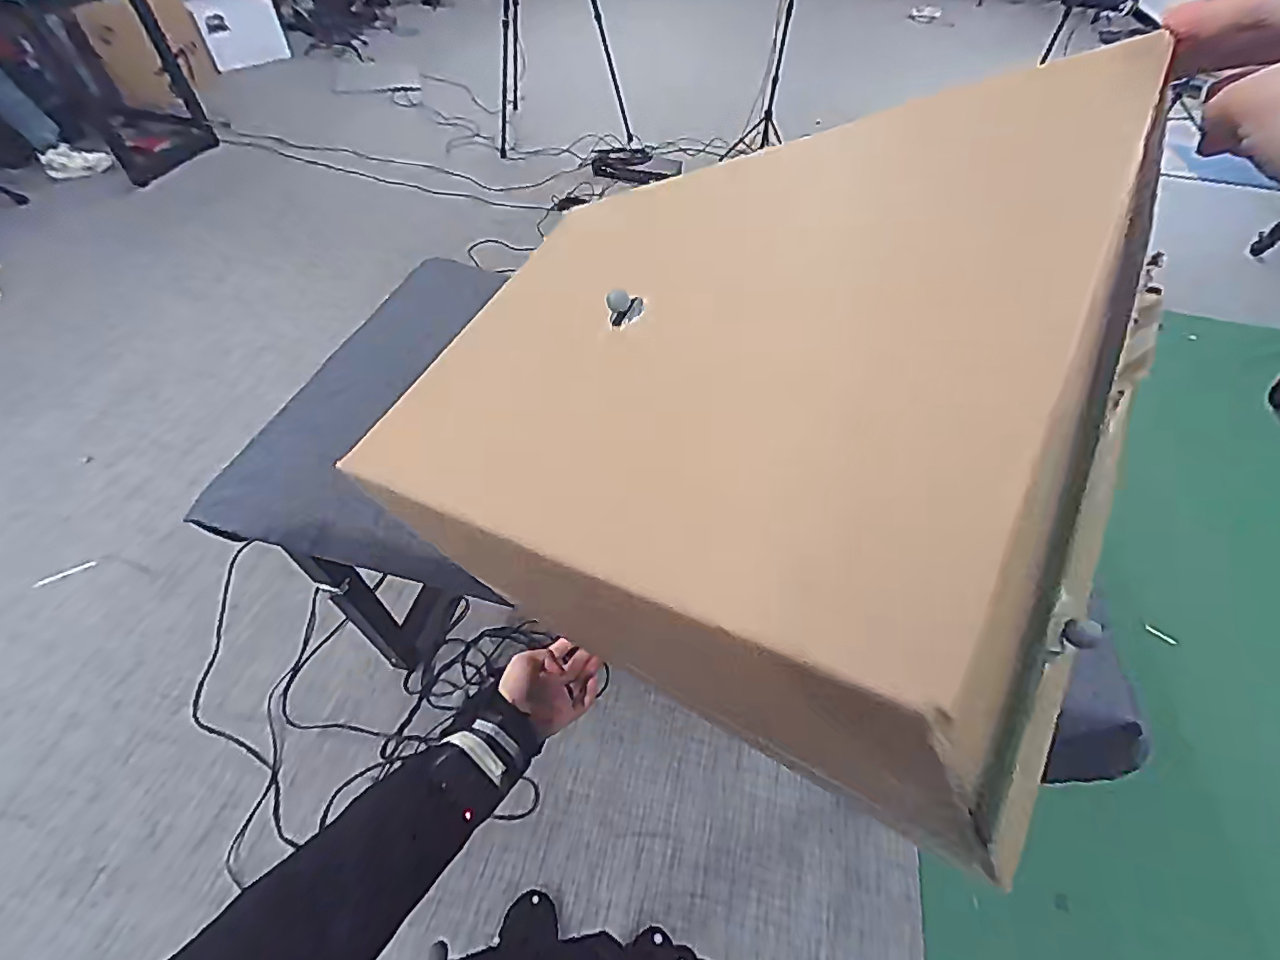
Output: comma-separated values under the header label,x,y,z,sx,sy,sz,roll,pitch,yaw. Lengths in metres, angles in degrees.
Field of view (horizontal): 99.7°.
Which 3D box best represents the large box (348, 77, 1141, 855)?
label,x,y,z,sx,sy,sz,roll,pitch,yaw
large box,0.073,0.000,0.409,0.408,0.320,0.320,11,60,41
